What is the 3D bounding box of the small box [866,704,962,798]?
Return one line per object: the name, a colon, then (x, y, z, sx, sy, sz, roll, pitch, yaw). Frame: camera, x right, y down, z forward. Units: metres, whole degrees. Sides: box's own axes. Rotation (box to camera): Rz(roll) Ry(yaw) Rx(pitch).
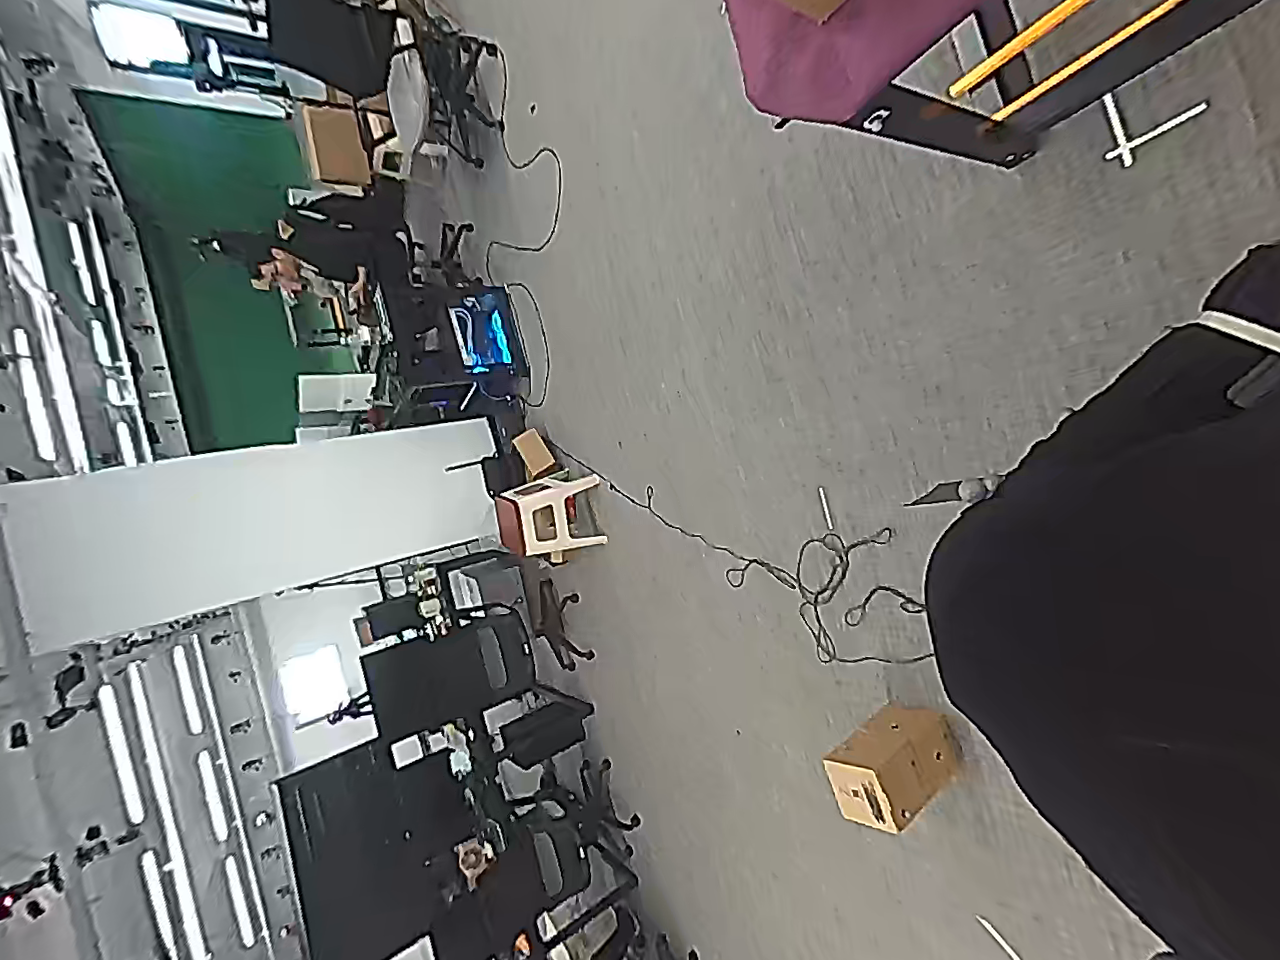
small box: (0.792, 0.767, 1.553, 0.179, 0.176, 0.168, -19, 86, 57)
